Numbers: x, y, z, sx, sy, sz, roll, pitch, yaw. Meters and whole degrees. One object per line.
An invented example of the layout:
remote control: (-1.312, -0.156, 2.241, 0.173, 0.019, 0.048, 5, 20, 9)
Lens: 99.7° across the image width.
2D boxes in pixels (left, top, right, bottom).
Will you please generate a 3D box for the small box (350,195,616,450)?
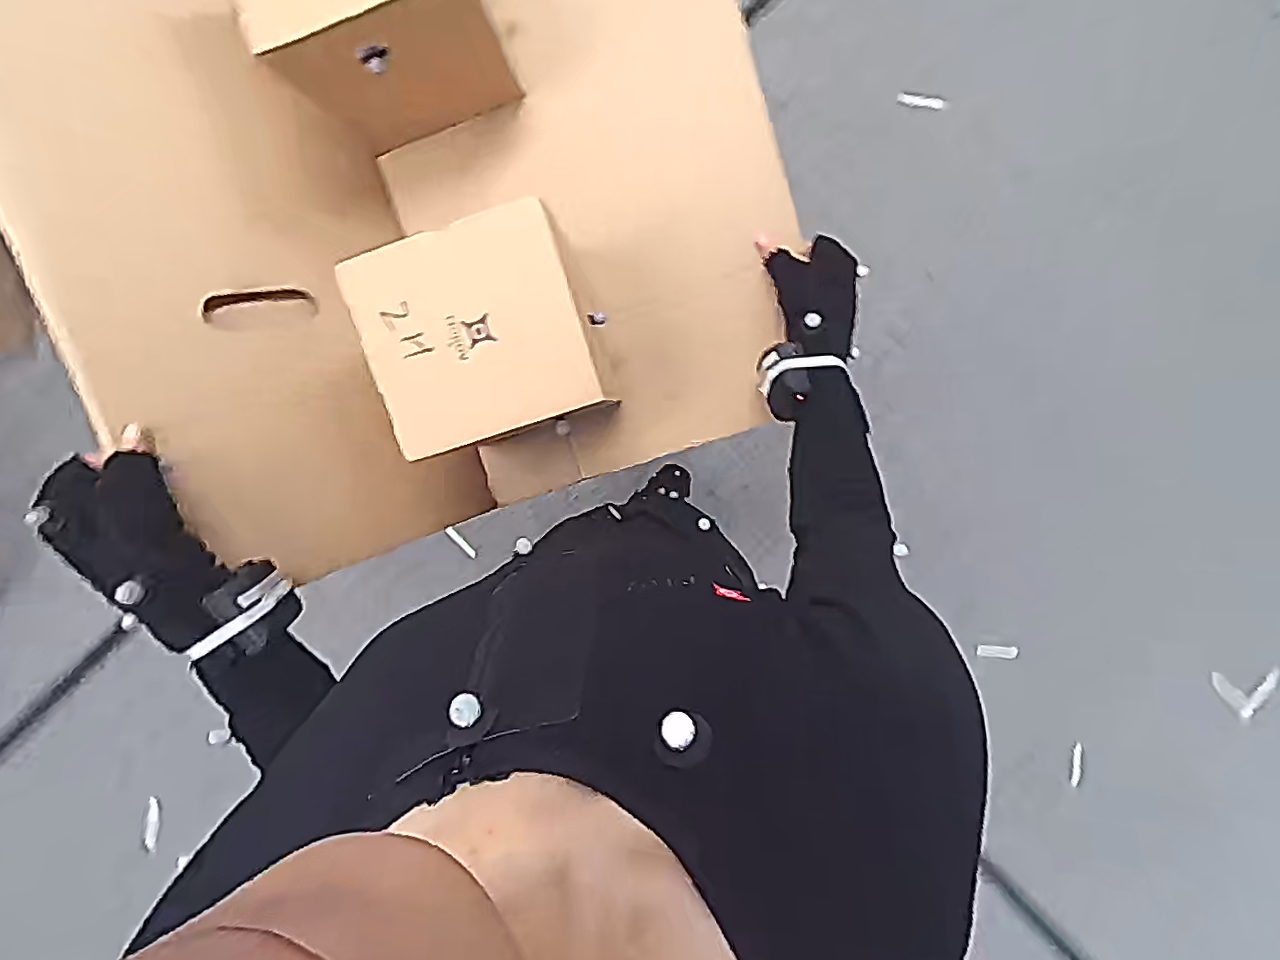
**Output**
small box: (-0.126, -0.136, 0.516, 0.179, 0.176, 0.168, -16, 97, 6)

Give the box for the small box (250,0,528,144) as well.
small box: (-0.222, -0.437, 0.477, 0.179, 0.176, 0.168, -17, 97, 5)
